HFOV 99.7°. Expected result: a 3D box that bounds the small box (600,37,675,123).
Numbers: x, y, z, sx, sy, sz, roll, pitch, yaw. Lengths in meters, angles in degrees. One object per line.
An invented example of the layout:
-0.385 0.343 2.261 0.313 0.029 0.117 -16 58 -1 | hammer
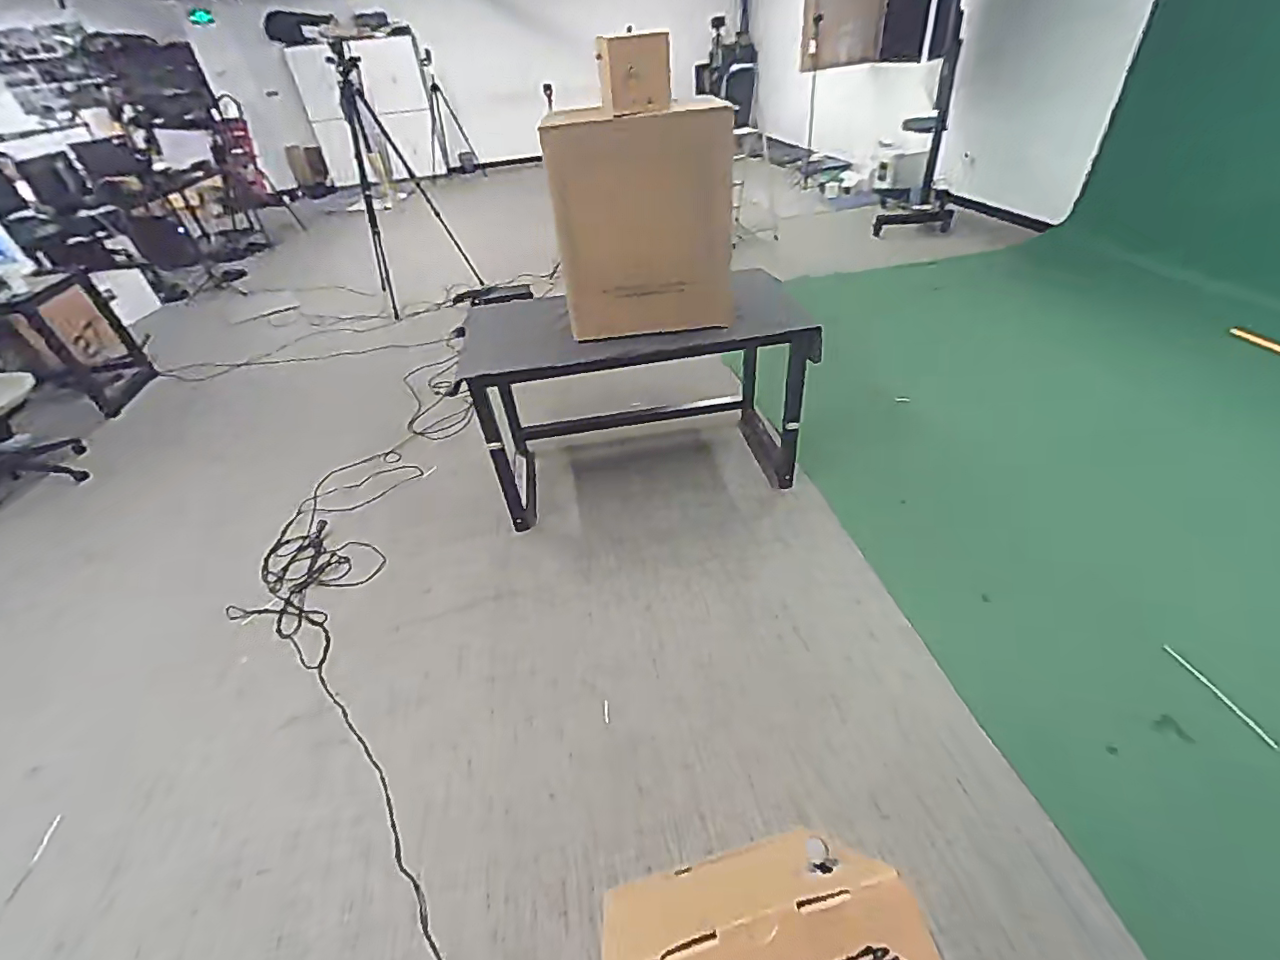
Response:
-0.006 -1.085 1.472 0.168 0.176 0.179 -12 40 -6 | small box
